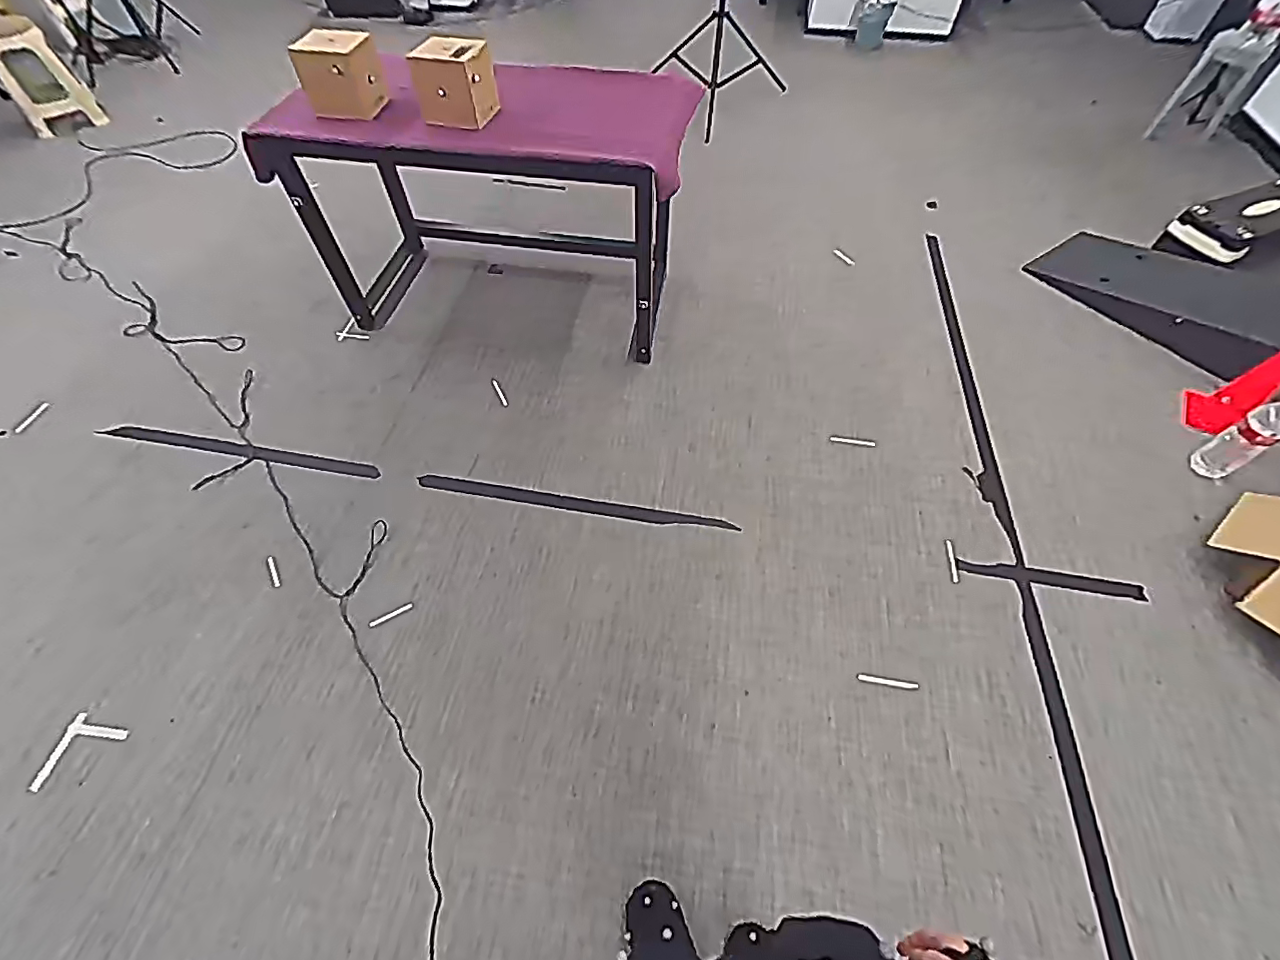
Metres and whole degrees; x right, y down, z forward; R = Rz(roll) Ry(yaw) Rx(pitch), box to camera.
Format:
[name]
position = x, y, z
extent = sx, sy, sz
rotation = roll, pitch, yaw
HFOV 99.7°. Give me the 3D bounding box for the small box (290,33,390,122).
[small box]
position = -0.867, -1.177, 1.588
extent = 0.179, 0.176, 0.168
rotation = 6, 54, 4
